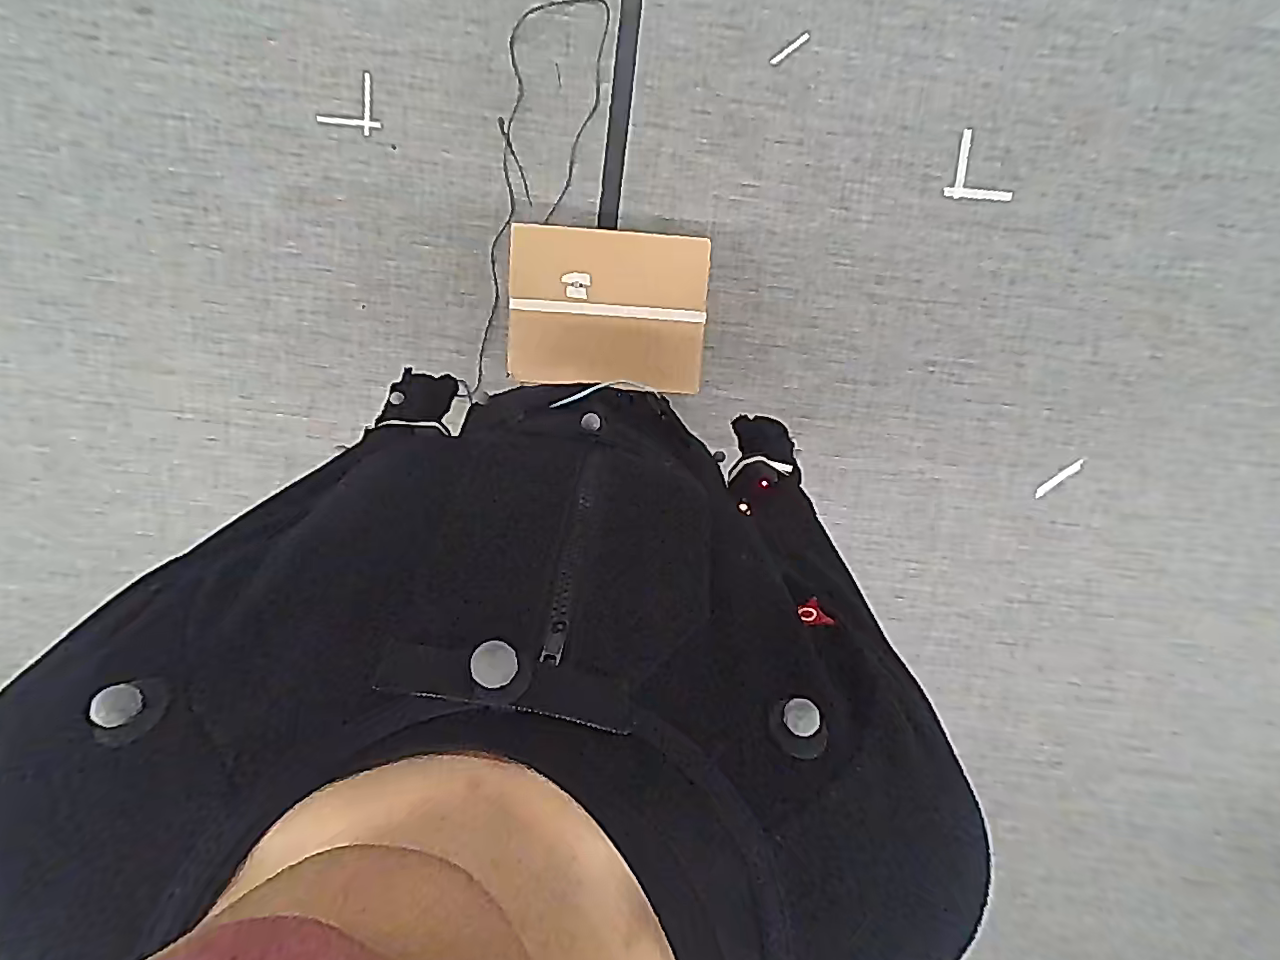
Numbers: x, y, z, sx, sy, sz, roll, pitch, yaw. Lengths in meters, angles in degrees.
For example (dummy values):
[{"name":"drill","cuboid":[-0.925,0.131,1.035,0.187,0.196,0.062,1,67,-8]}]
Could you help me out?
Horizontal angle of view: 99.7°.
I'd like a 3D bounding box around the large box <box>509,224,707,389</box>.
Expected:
[{"name":"large box","cuboid":[-0.068,-0.385,1.263,0.408,0.320,0.320,4,100,-1]}]
